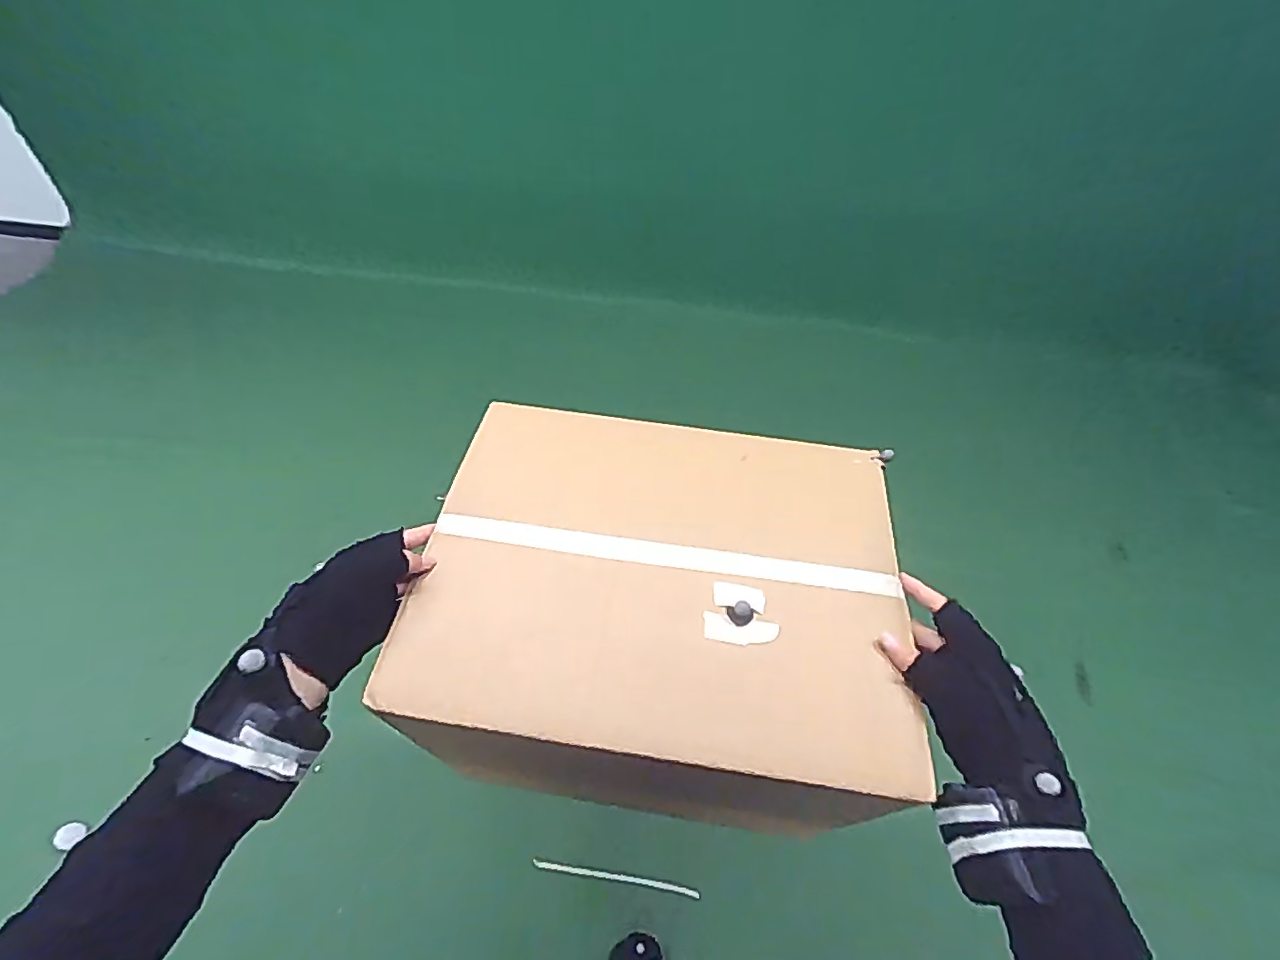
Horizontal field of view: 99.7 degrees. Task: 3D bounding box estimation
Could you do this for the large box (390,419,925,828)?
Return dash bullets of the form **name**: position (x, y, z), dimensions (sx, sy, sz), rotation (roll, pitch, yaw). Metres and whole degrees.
- **large box**: position (0.020, 0.165, 0.599), dimensions (0.408, 0.320, 0.320), rotation (7, 53, 4)
